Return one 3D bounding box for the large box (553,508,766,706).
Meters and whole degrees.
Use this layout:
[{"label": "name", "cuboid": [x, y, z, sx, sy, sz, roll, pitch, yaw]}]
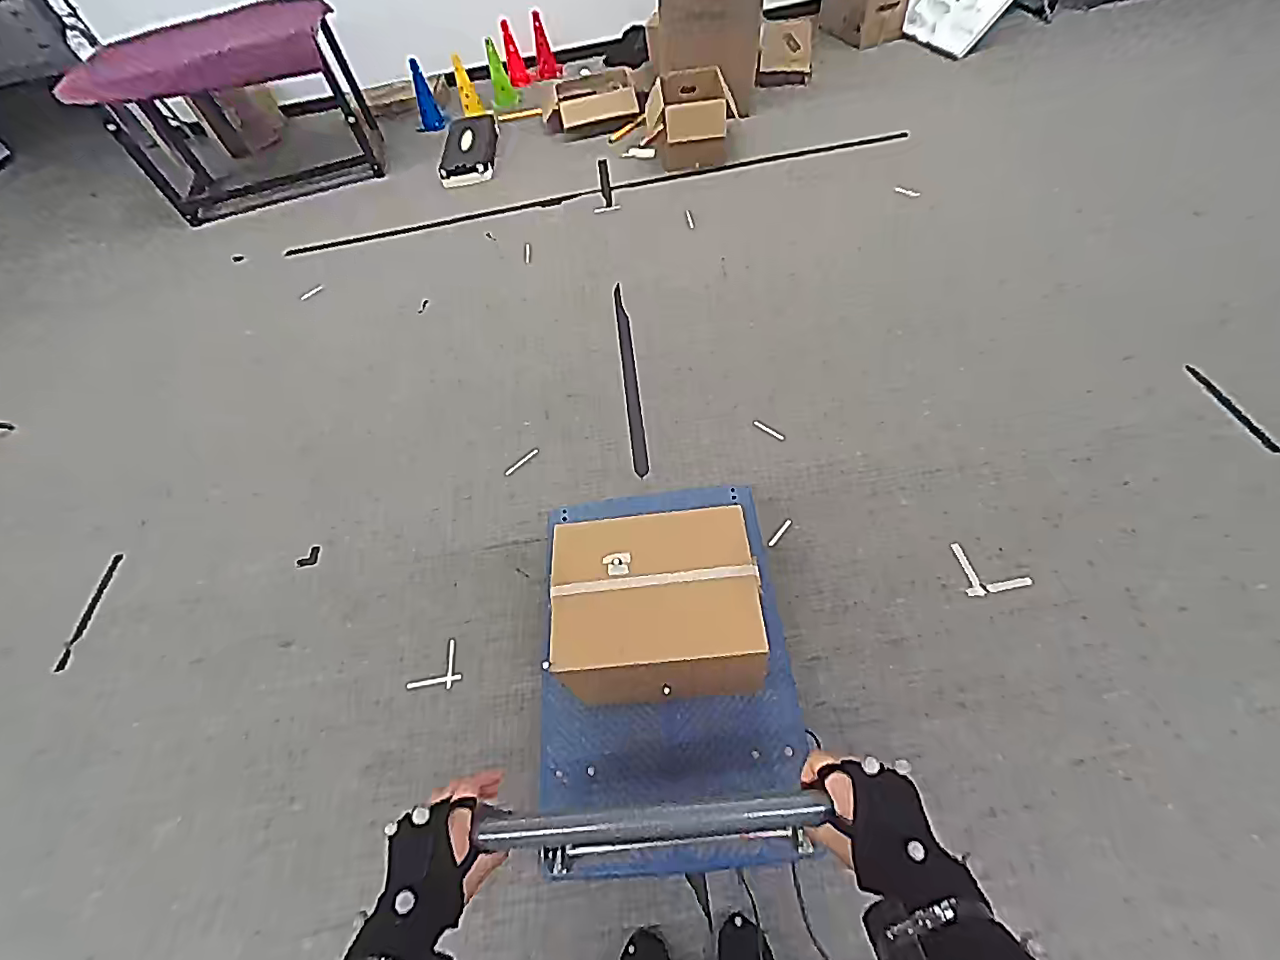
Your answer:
[{"label": "large box", "cuboid": [0.045, 0.295, 1.204, 0.408, 0.320, 0.320, -8, 54, 5]}]
